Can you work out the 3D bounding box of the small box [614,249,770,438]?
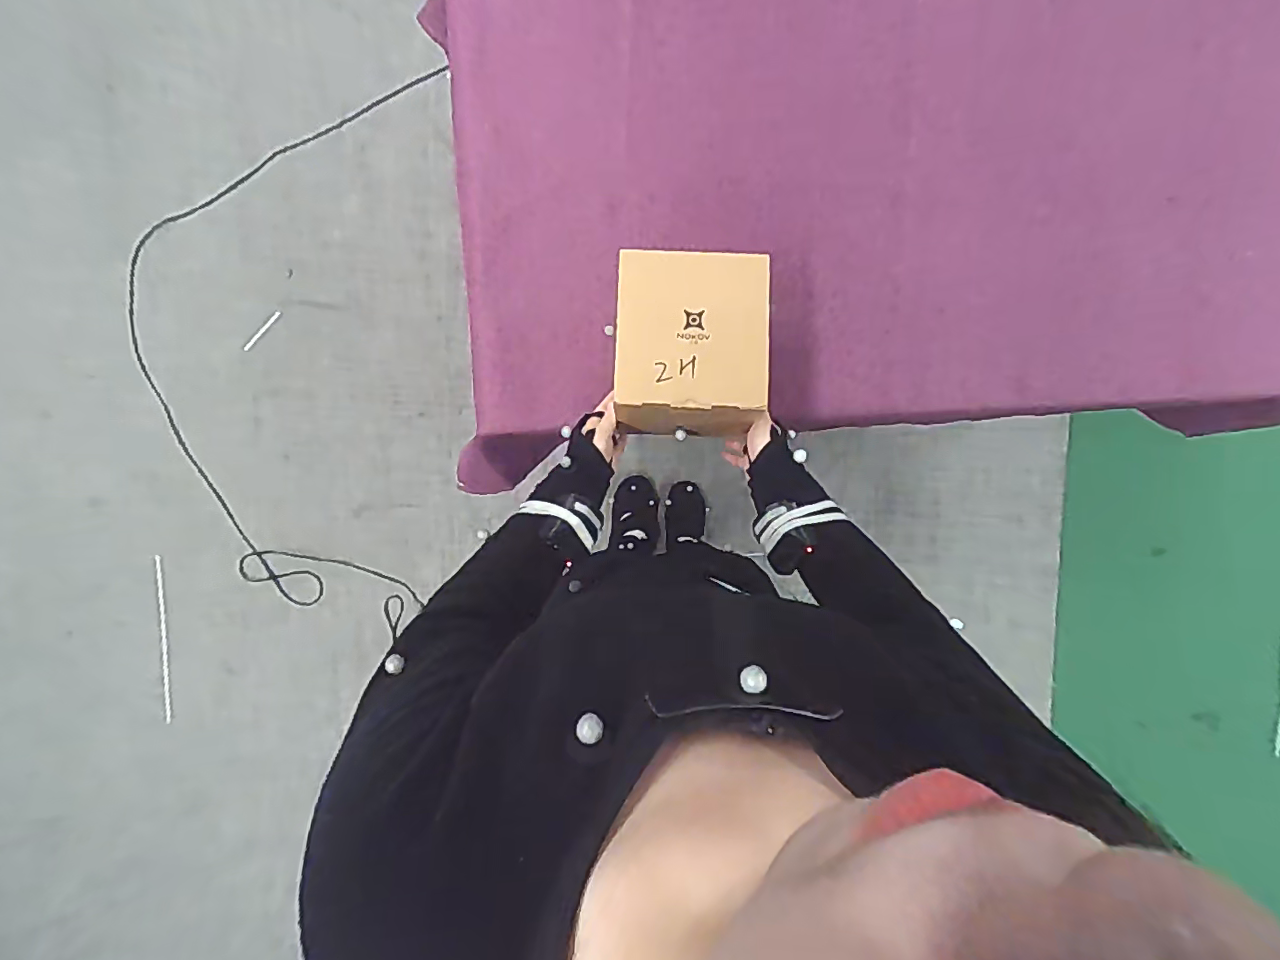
[{"bbox_3d":[0.057,-0.155,0.659,0.168,0.176,0.179,2,85,1],"label":"small box"}]
